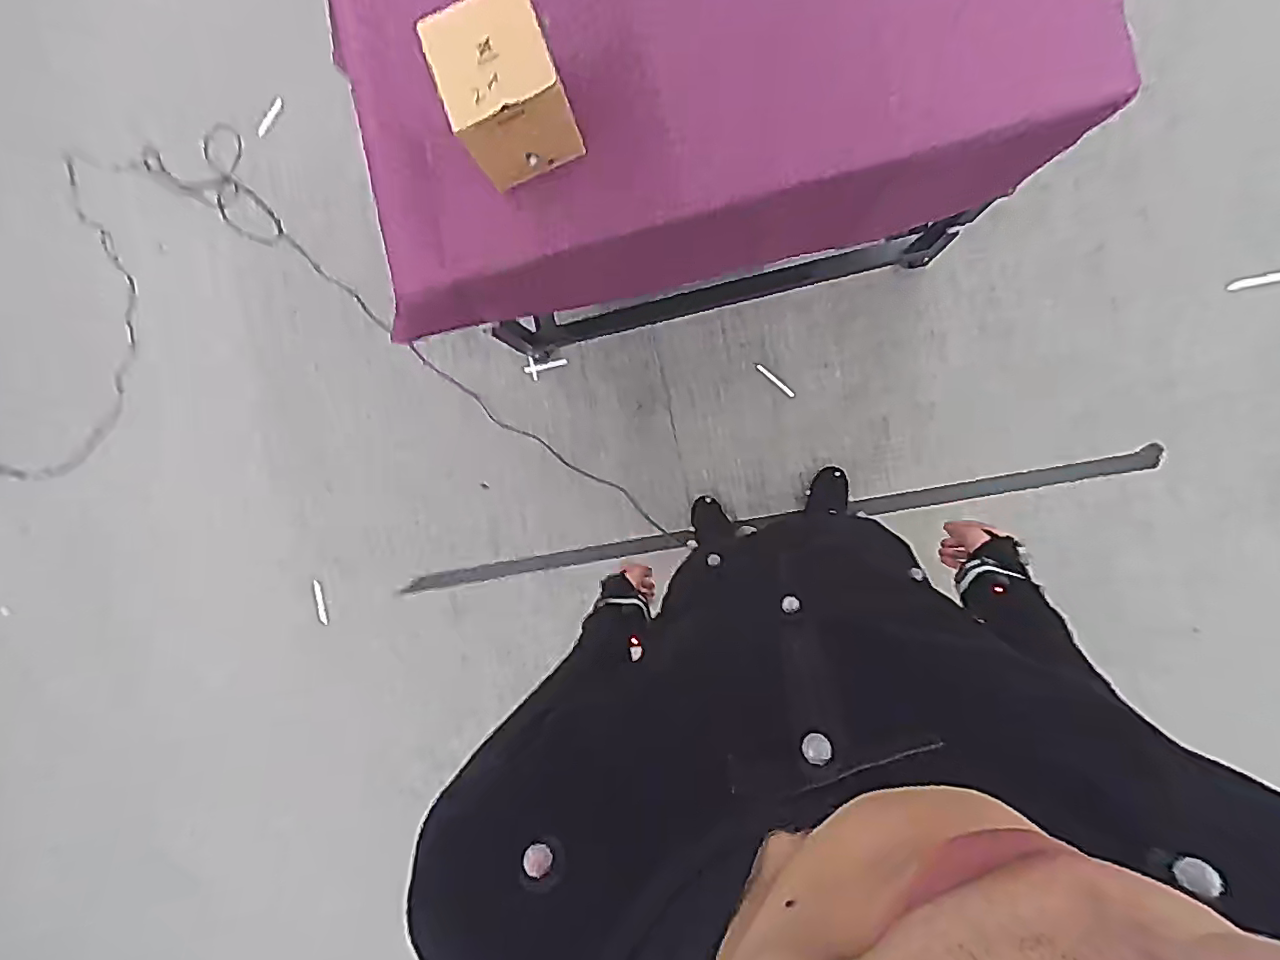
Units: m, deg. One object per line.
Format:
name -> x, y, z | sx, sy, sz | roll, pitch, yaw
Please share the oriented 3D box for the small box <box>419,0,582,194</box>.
small box -> -0.209, -0.598, 0.852 | 0.168, 0.176, 0.179 | -20, 88, 8
